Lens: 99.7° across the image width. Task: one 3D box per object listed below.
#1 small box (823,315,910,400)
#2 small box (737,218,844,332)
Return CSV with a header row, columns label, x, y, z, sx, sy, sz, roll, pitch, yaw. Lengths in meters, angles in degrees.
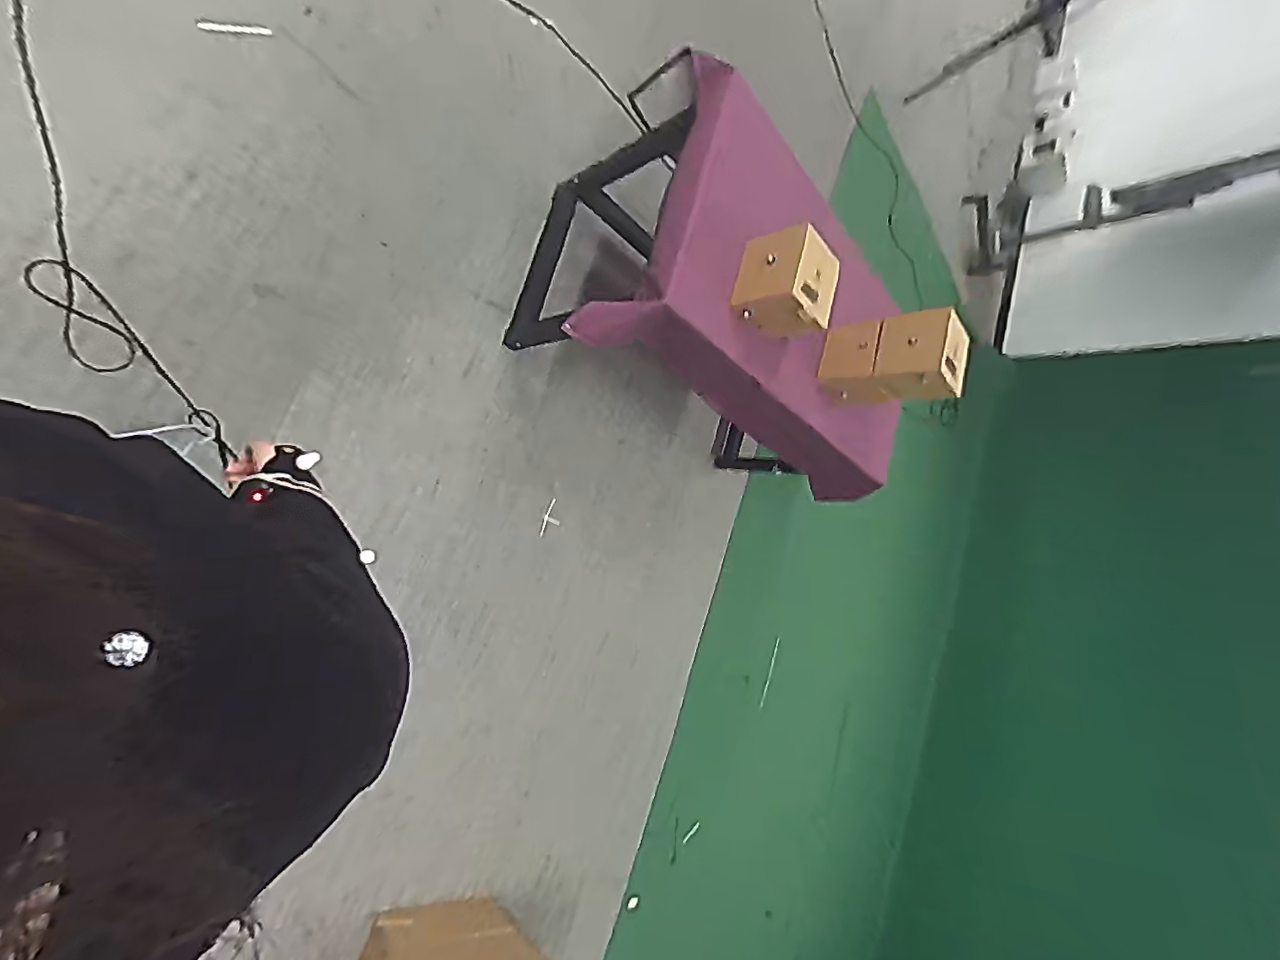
label,x,y,z,sx,sy,sz,roll,pitch,yaw
small box,0.647,-0.344,1.552,0.168,0.176,0.179,27,75,-40
small box,0.347,-0.466,1.262,0.168,0.176,0.179,23,77,-42
